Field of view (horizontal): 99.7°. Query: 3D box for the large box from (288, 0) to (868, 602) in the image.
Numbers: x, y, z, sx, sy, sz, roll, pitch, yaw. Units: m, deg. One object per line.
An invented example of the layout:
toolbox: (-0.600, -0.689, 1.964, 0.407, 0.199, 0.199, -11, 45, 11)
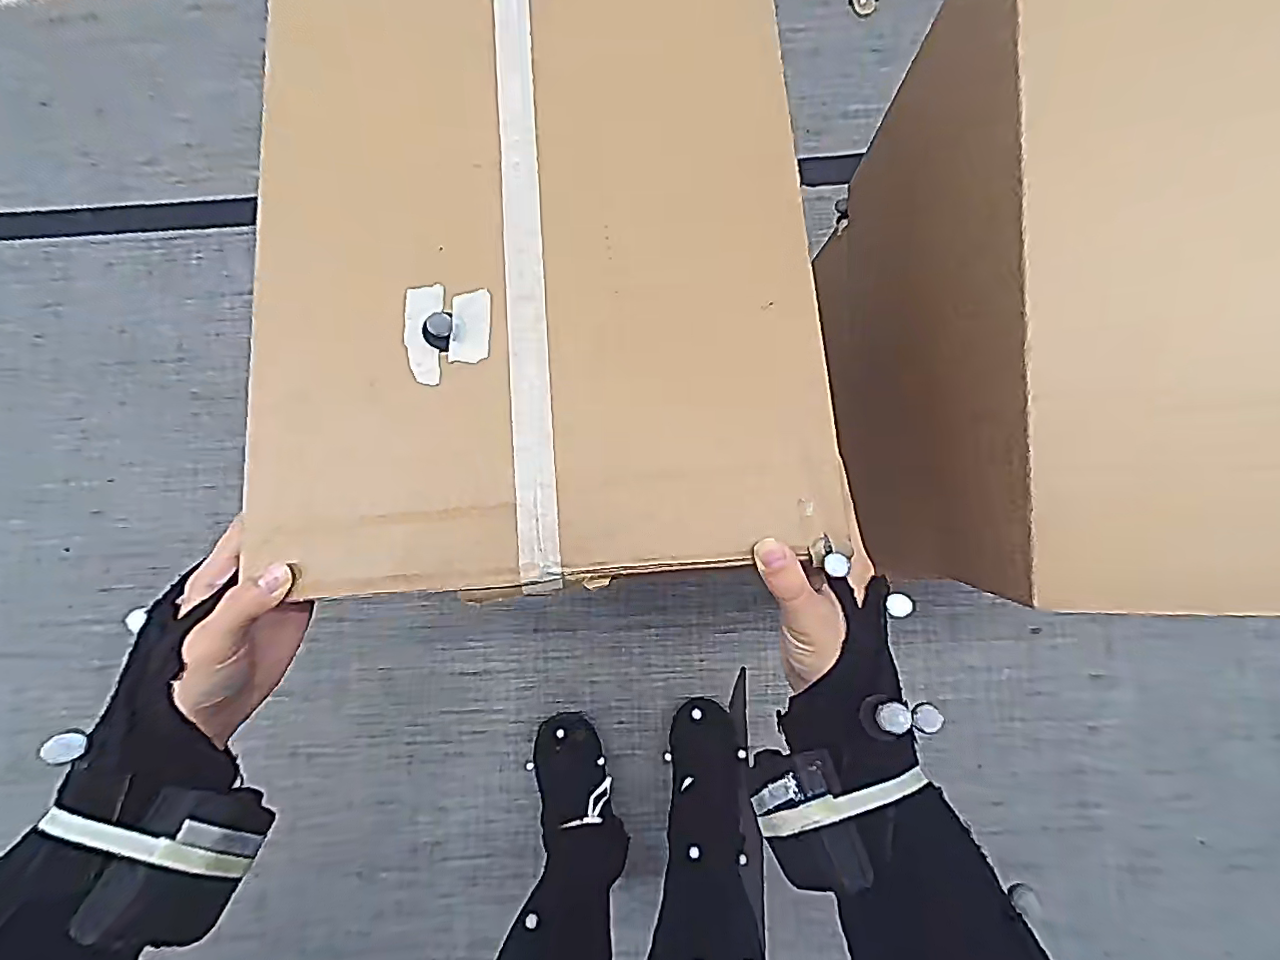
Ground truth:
large box: (-0.050, -0.121, 0.461, 0.320, 0.320, 0.408, -6, 80, 1)
